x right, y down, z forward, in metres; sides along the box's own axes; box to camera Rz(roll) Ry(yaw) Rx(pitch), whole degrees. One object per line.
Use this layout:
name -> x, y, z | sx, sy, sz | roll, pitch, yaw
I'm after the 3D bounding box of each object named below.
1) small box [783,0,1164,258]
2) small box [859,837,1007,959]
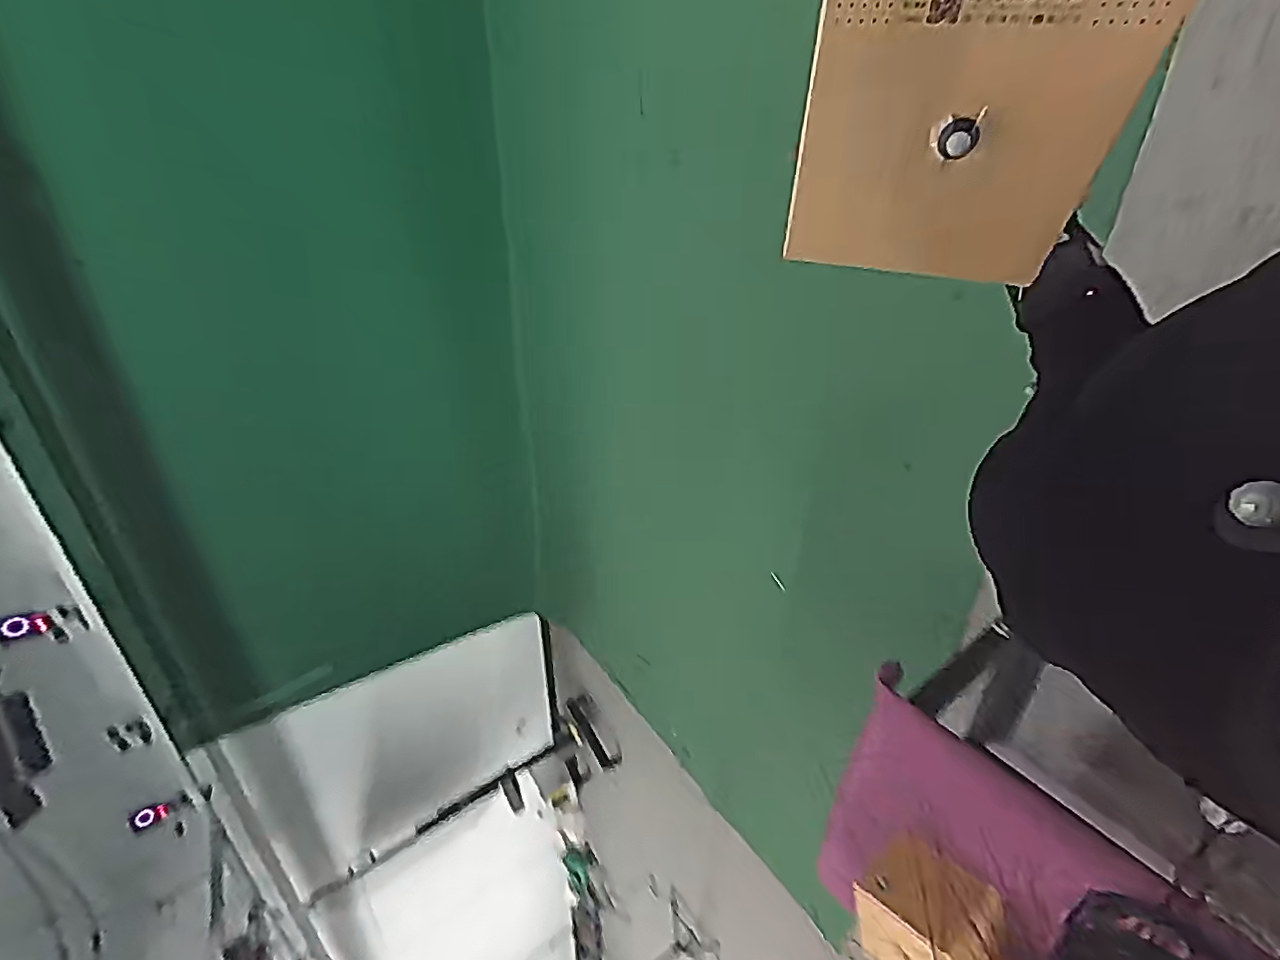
small box -> 0.197, -0.275, 0.352 | 0.168, 0.179, 0.176 | 12, 145, 12
small box -> 0.523, 0.788, 0.959 | 0.179, 0.176, 0.168 | 5, 110, 56
